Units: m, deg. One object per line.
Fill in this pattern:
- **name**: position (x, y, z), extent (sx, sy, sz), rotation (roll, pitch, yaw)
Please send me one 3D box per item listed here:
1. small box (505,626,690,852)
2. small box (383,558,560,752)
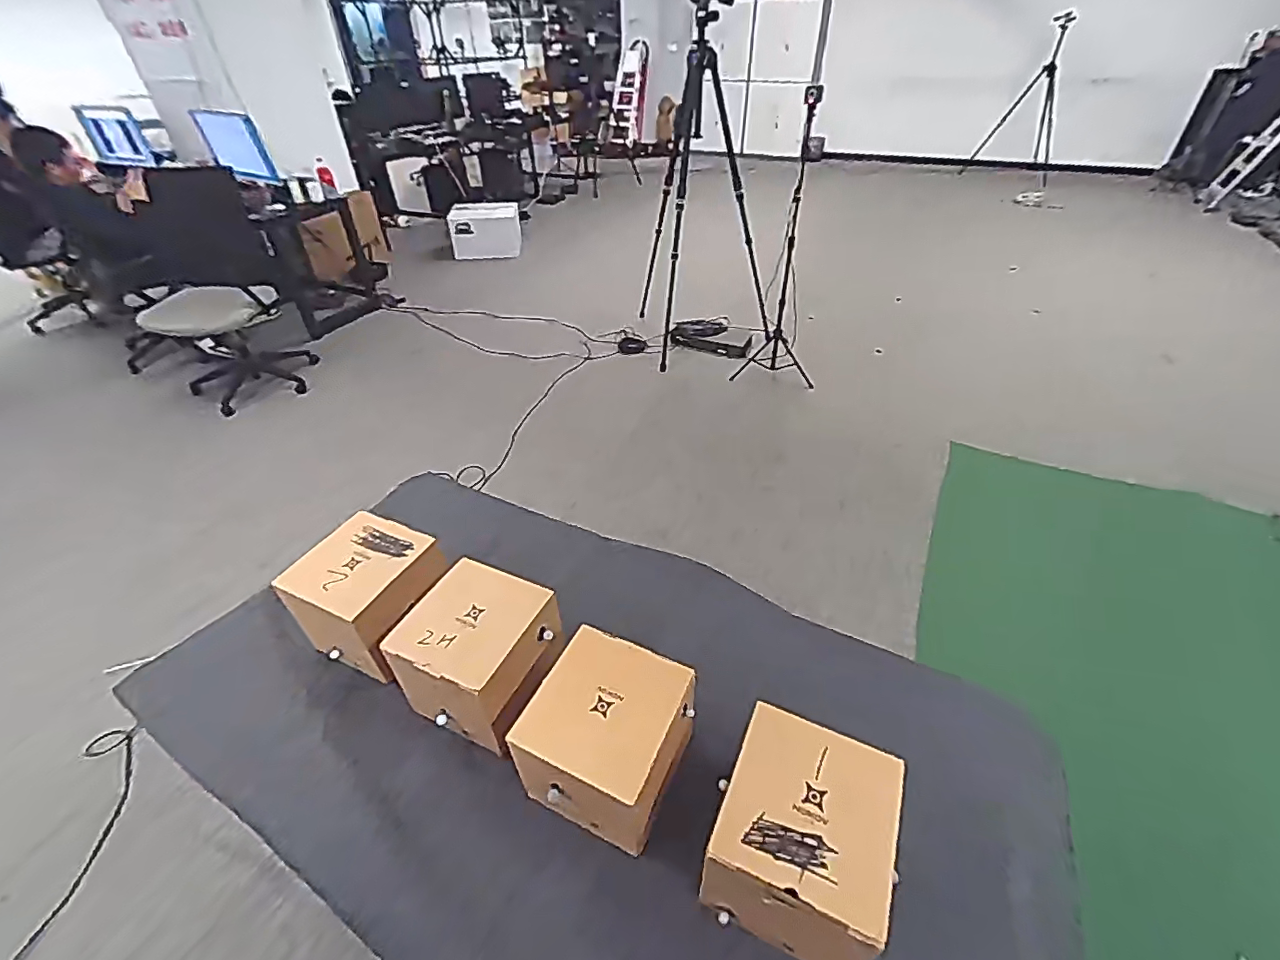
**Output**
- **small box**: position (-0.043, 0.329, 0.692), extent (0.168, 0.176, 0.179), rotation (17, 42, 20)
- **small box**: position (-0.230, 0.251, 0.788), extent (0.168, 0.176, 0.179), rotation (16, 42, 20)
